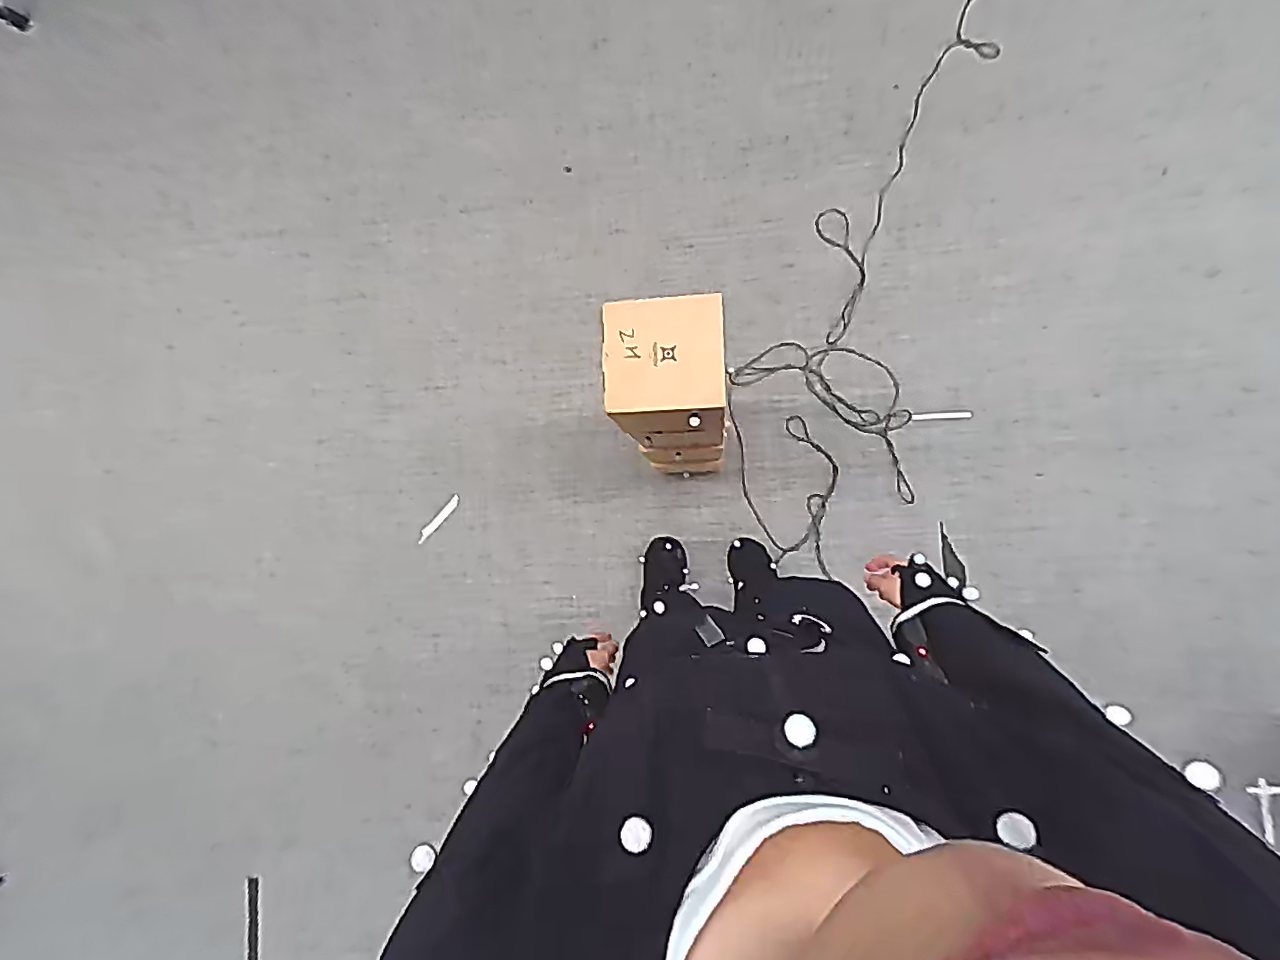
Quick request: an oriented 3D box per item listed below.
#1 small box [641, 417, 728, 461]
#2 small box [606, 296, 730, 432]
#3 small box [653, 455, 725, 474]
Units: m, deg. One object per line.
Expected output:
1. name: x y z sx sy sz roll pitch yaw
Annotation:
1. small box: 0.099 -0.133 1.169 0.179 0.176 0.168 -2 85 9
2. small box: 0.049 -0.171 0.845 0.179 0.176 0.168 -1 84 9
3. small box: 0.122 -0.110 1.328 0.168 0.176 0.179 -2 86 9
